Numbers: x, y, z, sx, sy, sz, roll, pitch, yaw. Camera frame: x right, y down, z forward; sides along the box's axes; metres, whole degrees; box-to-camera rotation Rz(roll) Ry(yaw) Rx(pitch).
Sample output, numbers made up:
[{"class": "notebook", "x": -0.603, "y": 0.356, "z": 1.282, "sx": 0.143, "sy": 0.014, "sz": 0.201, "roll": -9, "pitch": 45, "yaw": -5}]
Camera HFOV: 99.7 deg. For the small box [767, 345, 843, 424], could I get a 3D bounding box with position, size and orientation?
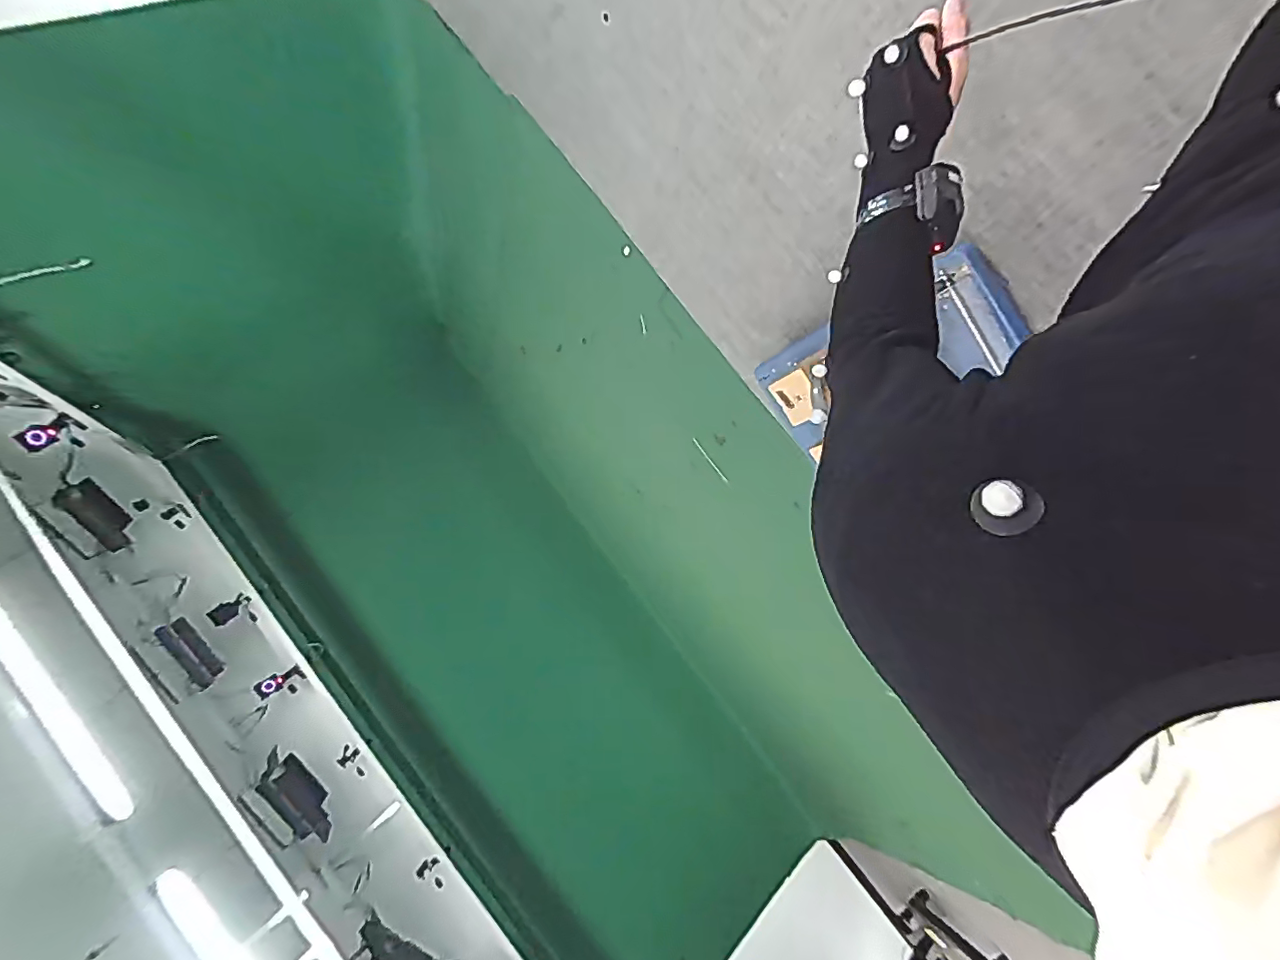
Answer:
[{"class": "small box", "x": 0.564, "y": -0.314, "z": 1.786, "sx": 0.168, "sy": 0.176, "sz": 0.179, "roll": 54, "pitch": 154, "yaw": -5}]
